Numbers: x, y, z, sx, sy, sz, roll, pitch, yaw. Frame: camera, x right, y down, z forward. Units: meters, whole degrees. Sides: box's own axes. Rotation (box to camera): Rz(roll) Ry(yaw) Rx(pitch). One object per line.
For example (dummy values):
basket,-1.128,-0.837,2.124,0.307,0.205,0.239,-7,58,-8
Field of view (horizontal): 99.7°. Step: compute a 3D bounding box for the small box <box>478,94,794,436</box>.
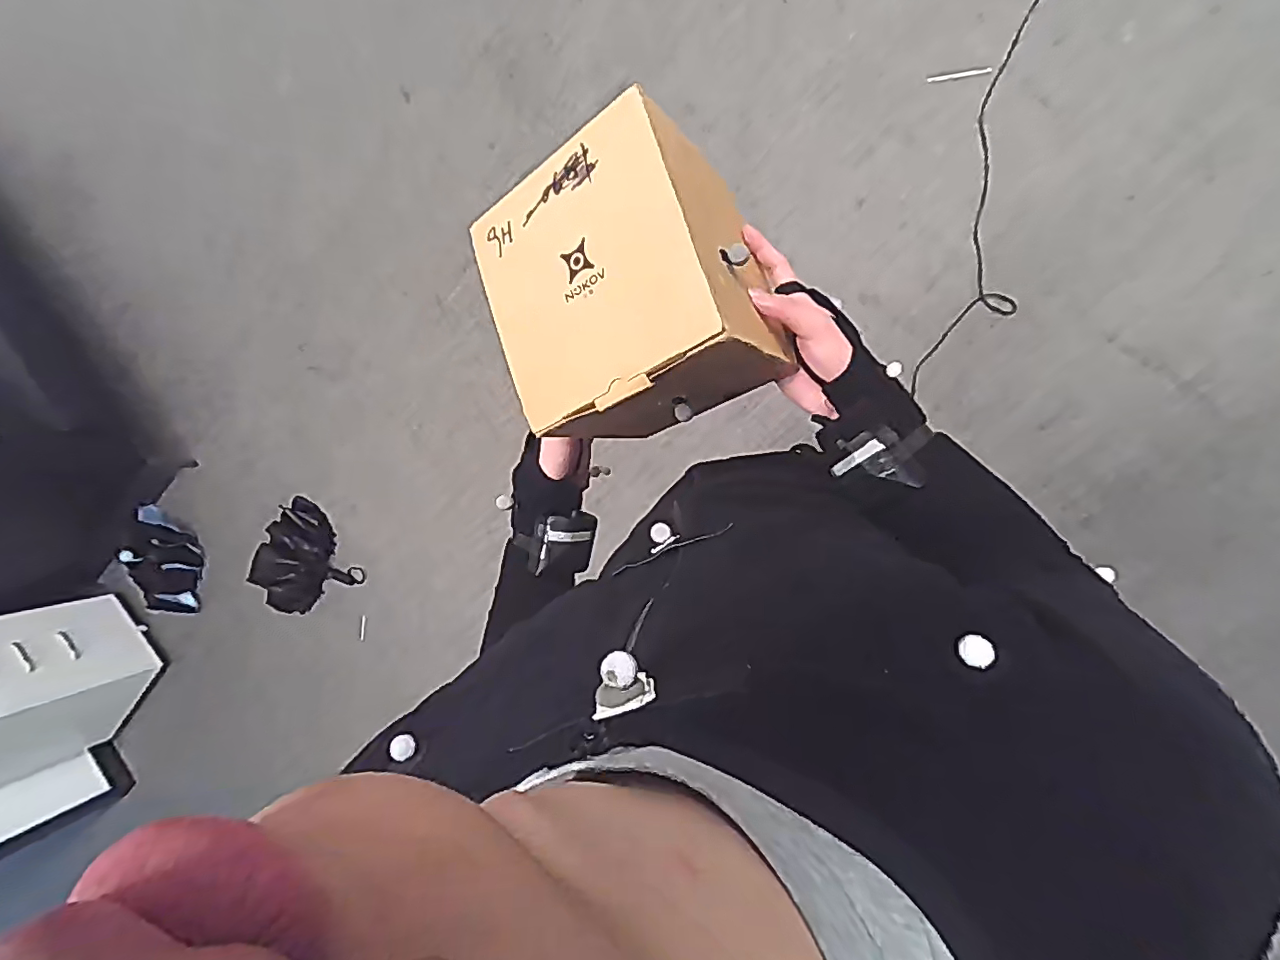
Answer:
small box,0.006,-0.146,0.441,0.168,0.176,0.179,-23,83,30
